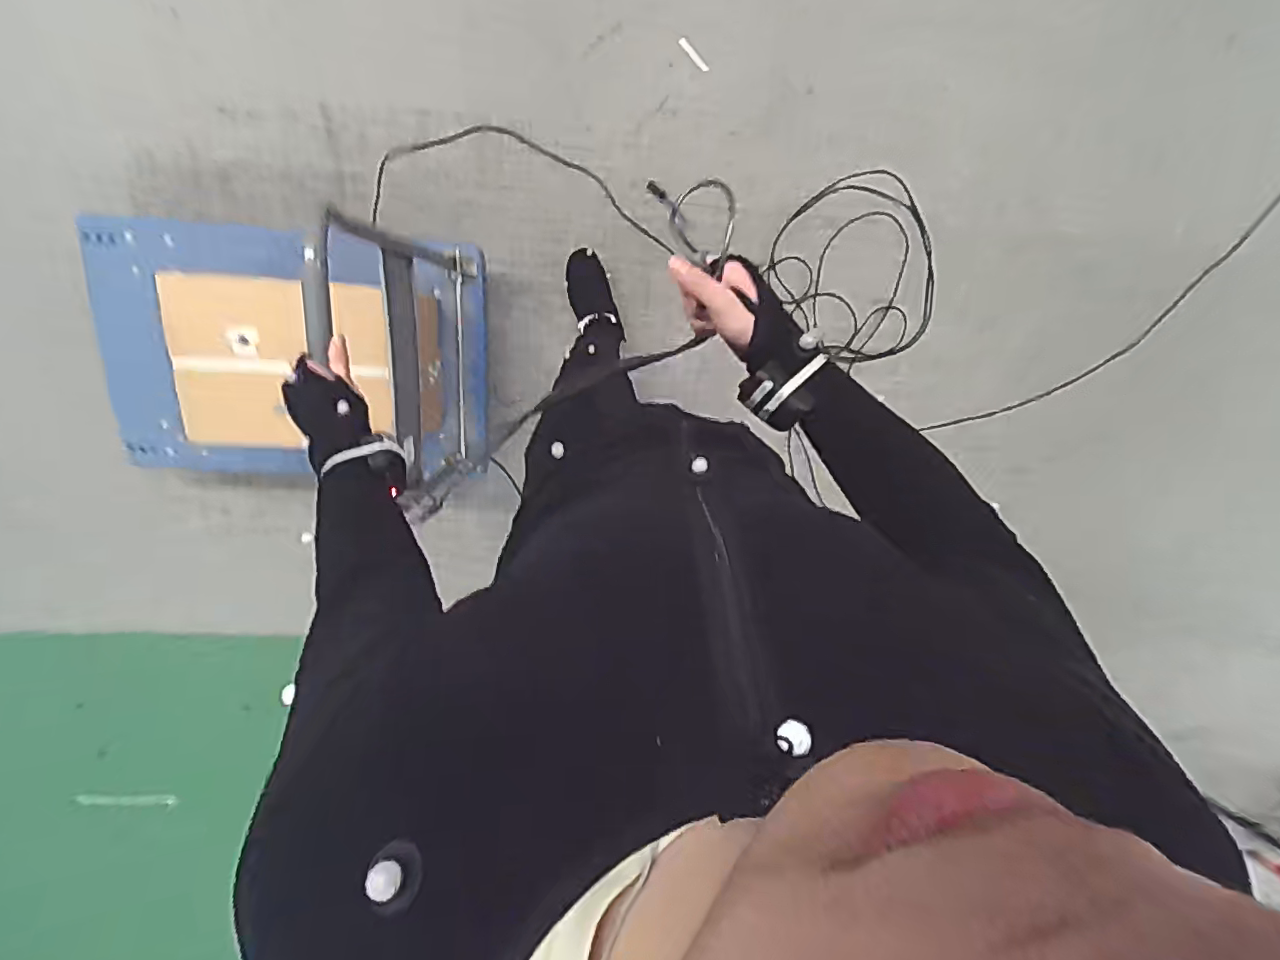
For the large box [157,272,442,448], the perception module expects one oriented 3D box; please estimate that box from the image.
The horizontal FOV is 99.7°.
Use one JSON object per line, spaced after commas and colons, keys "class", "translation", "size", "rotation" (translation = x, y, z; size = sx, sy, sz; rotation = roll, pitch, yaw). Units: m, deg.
{"class": "large box", "translation": [-0.674, -0.261, 1.155], "size": [0.408, 0.320, 0.320], "rotation": [3, 106, -5]}
